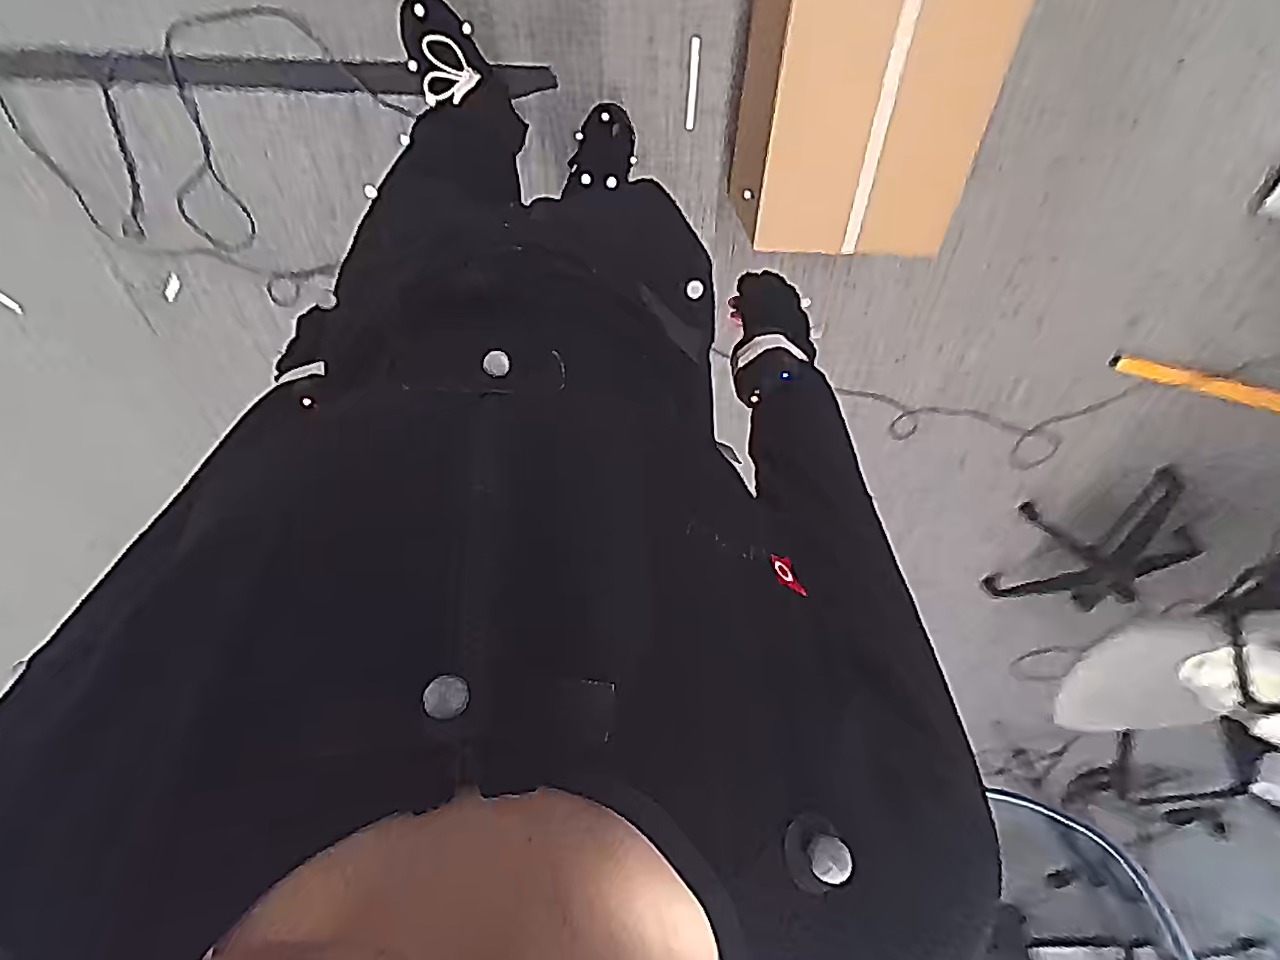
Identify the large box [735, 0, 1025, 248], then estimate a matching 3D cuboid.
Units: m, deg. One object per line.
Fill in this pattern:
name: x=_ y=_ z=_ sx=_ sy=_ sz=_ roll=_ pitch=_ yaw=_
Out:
large box: x=0.345 y=-0.634 z=0.885 sx=0.320 sy=0.320 sz=0.408 roll=1 pitch=131 yaw=-2
